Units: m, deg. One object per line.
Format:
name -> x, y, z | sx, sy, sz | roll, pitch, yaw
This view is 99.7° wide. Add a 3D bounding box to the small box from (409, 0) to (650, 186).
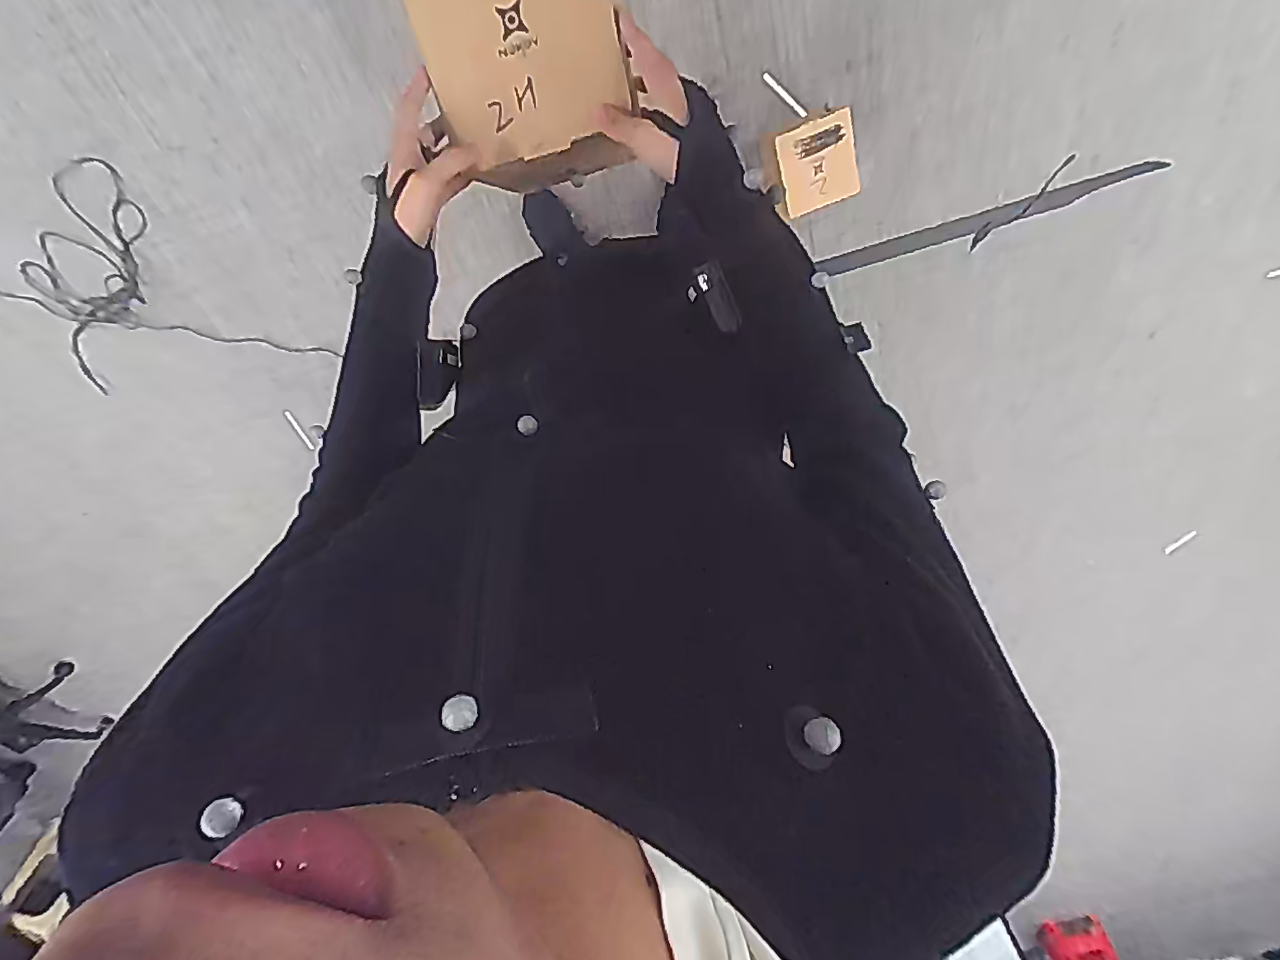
small box -> -0.092, -0.399, 0.509 | 0.168, 0.176, 0.179 | -9, 112, 12
